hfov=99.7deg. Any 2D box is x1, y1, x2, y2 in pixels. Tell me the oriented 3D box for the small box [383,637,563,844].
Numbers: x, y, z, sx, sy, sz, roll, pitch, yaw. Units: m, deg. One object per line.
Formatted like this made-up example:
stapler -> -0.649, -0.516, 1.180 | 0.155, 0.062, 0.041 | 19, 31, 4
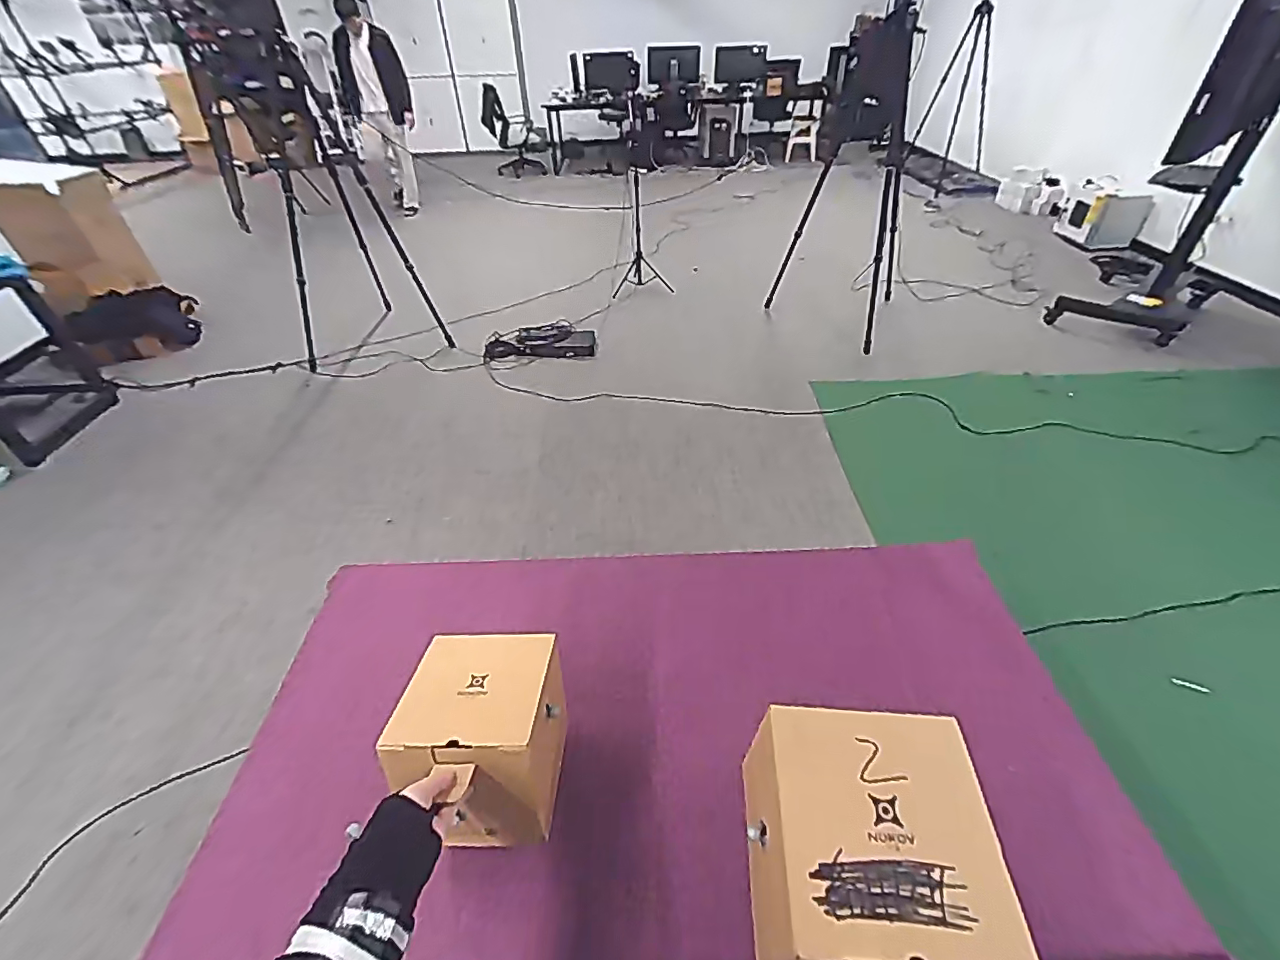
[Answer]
small box -> -0.196, 0.325, 0.693 | 0.168, 0.176, 0.179 | -1, 26, 2
